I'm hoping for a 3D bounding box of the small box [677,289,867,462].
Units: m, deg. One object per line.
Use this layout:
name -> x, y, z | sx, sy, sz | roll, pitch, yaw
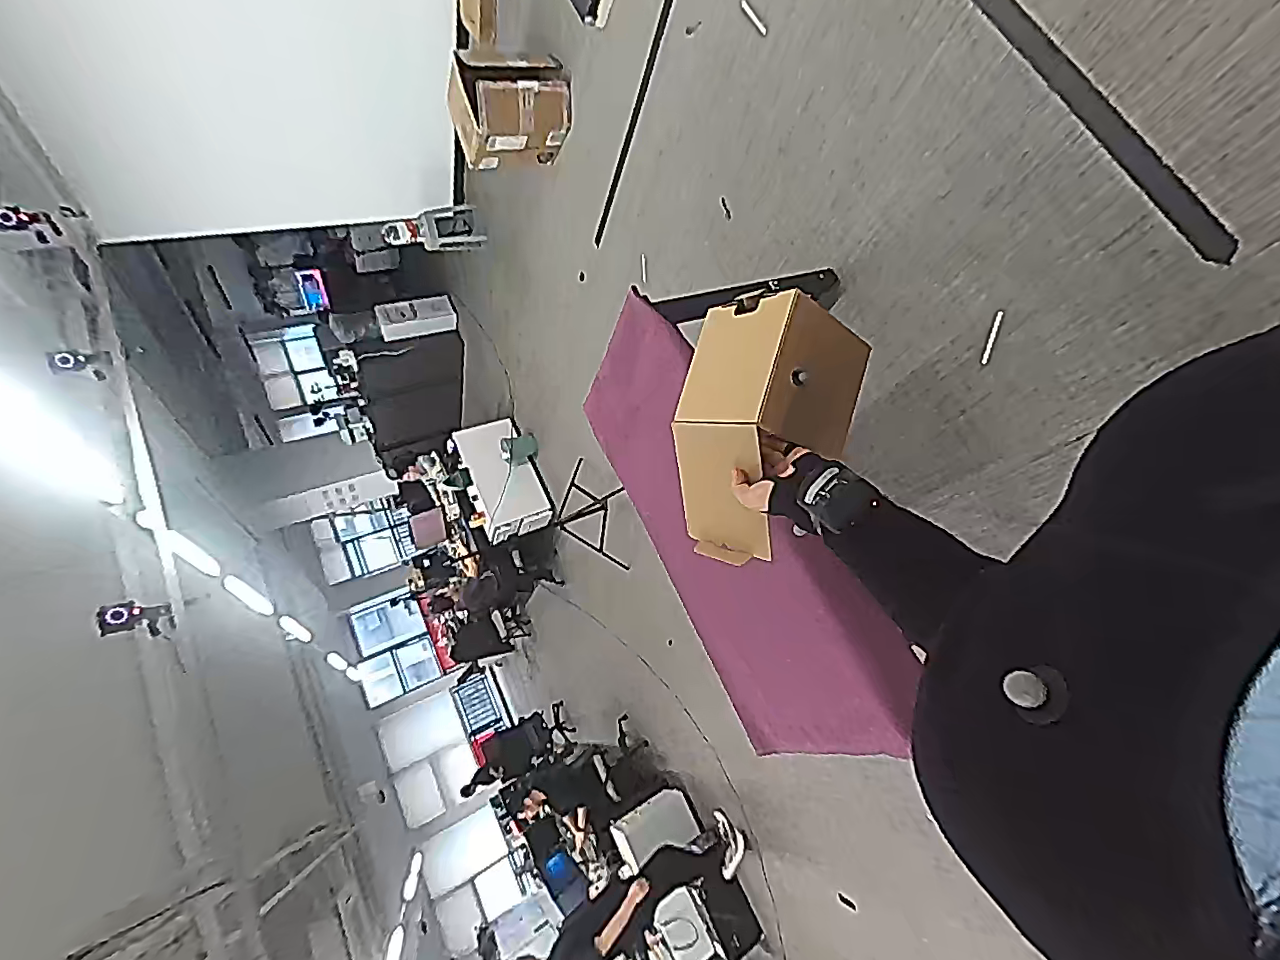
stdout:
small box -> 0.184, -0.133, 0.747 | 0.168, 0.176, 0.179 | 12, 82, 56
